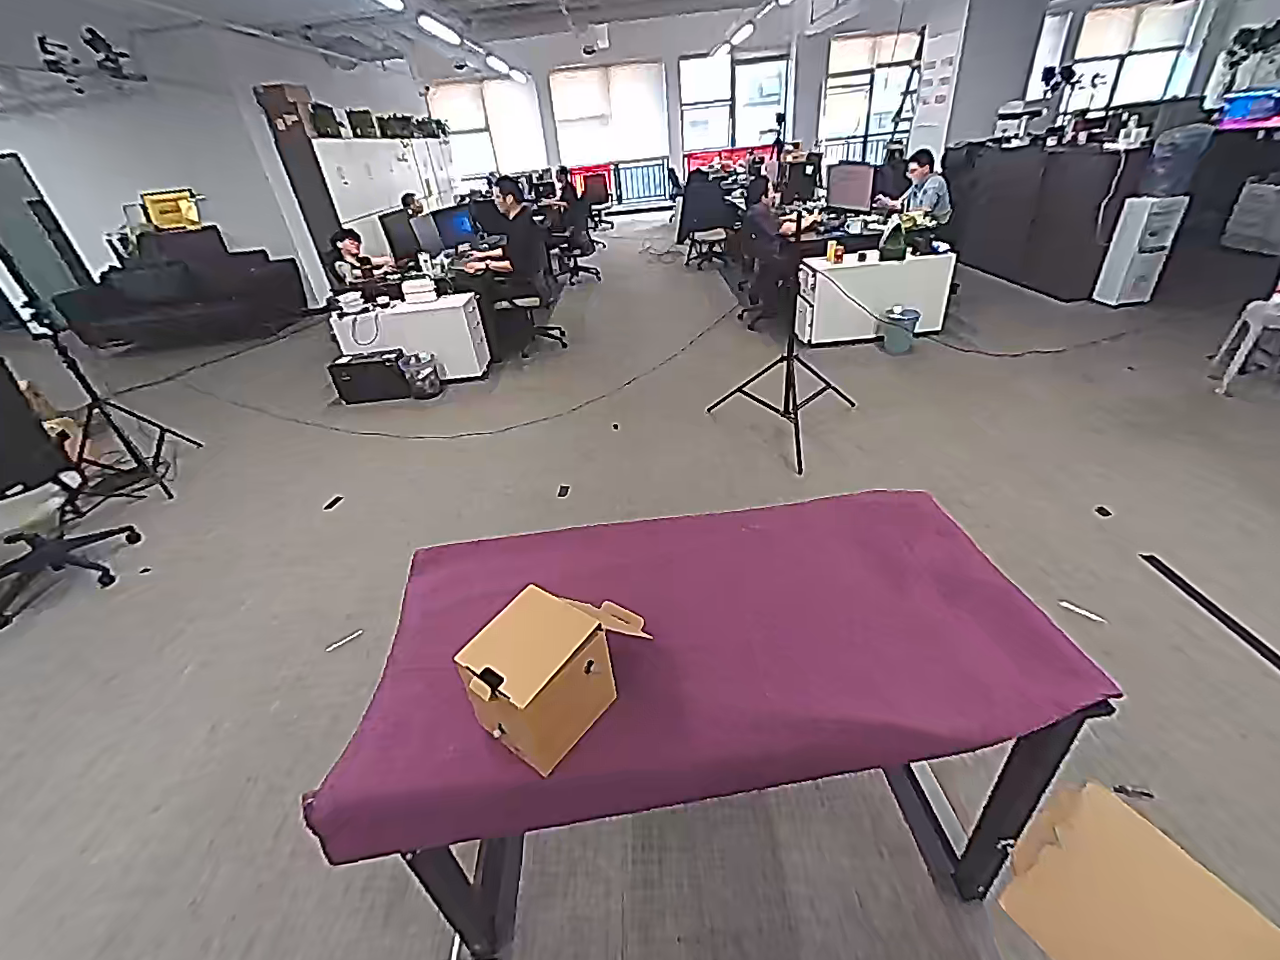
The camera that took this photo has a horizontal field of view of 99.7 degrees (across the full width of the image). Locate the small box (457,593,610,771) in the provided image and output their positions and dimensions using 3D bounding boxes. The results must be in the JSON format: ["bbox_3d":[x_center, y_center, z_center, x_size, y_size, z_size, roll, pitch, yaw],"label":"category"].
[{"bbox_3d":[-0.164,0.325,0.887,0.168,0.176,0.179,17,38,35],"label":"small box"}]
